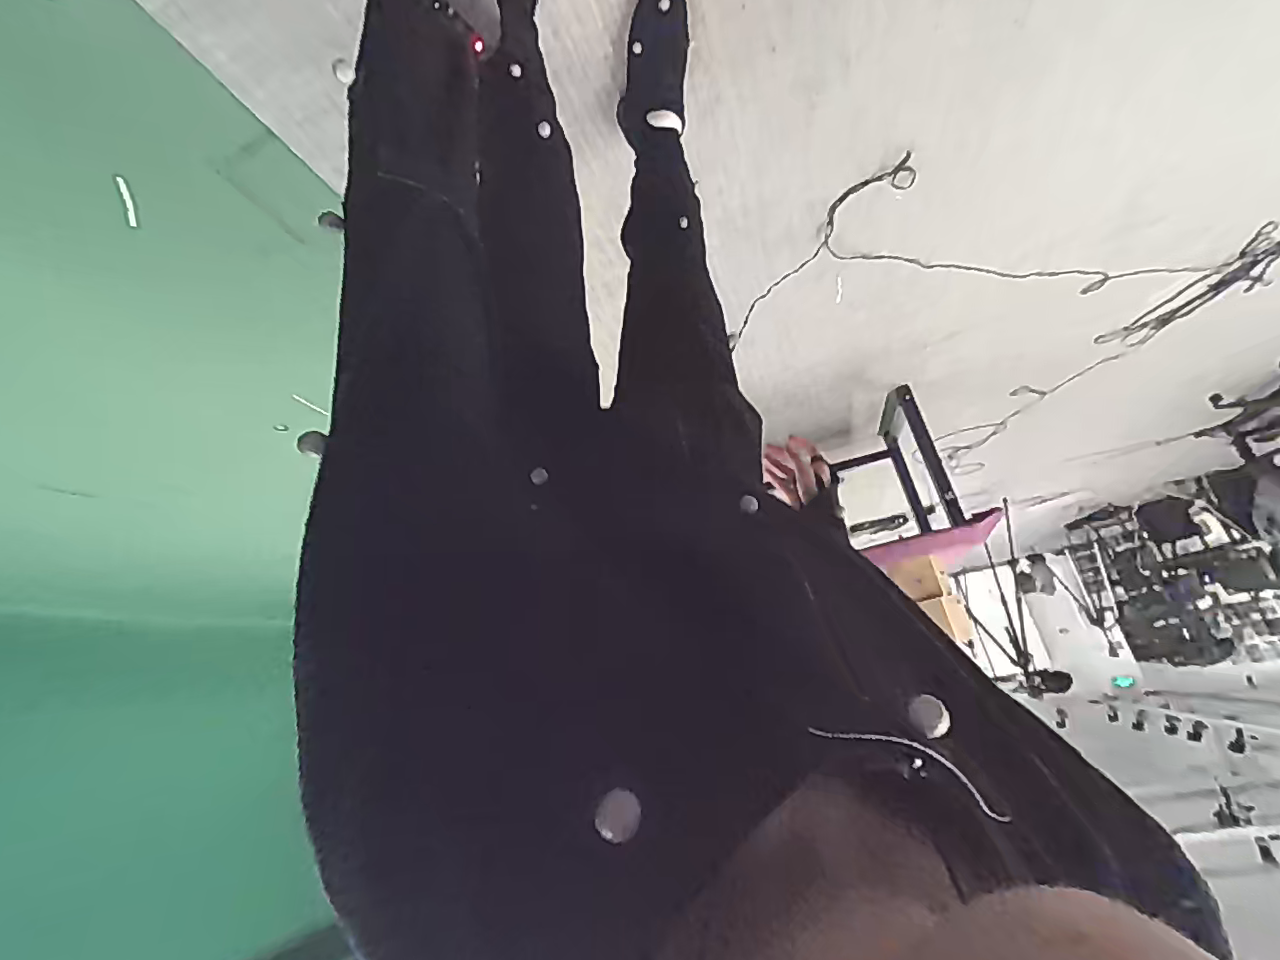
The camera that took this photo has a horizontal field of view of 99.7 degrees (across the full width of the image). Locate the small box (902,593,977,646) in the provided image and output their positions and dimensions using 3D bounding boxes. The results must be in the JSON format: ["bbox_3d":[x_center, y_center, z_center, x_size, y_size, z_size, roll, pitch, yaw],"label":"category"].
[{"bbox_3d":[1.157,0.536,2.096,0.168,0.176,0.179,5,155,-37],"label":"small box"}]

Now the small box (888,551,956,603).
[{"bbox_3d":[1.131,0.390,2.169,0.179,0.176,0.168,-27,154,35],"label":"small box"}]
